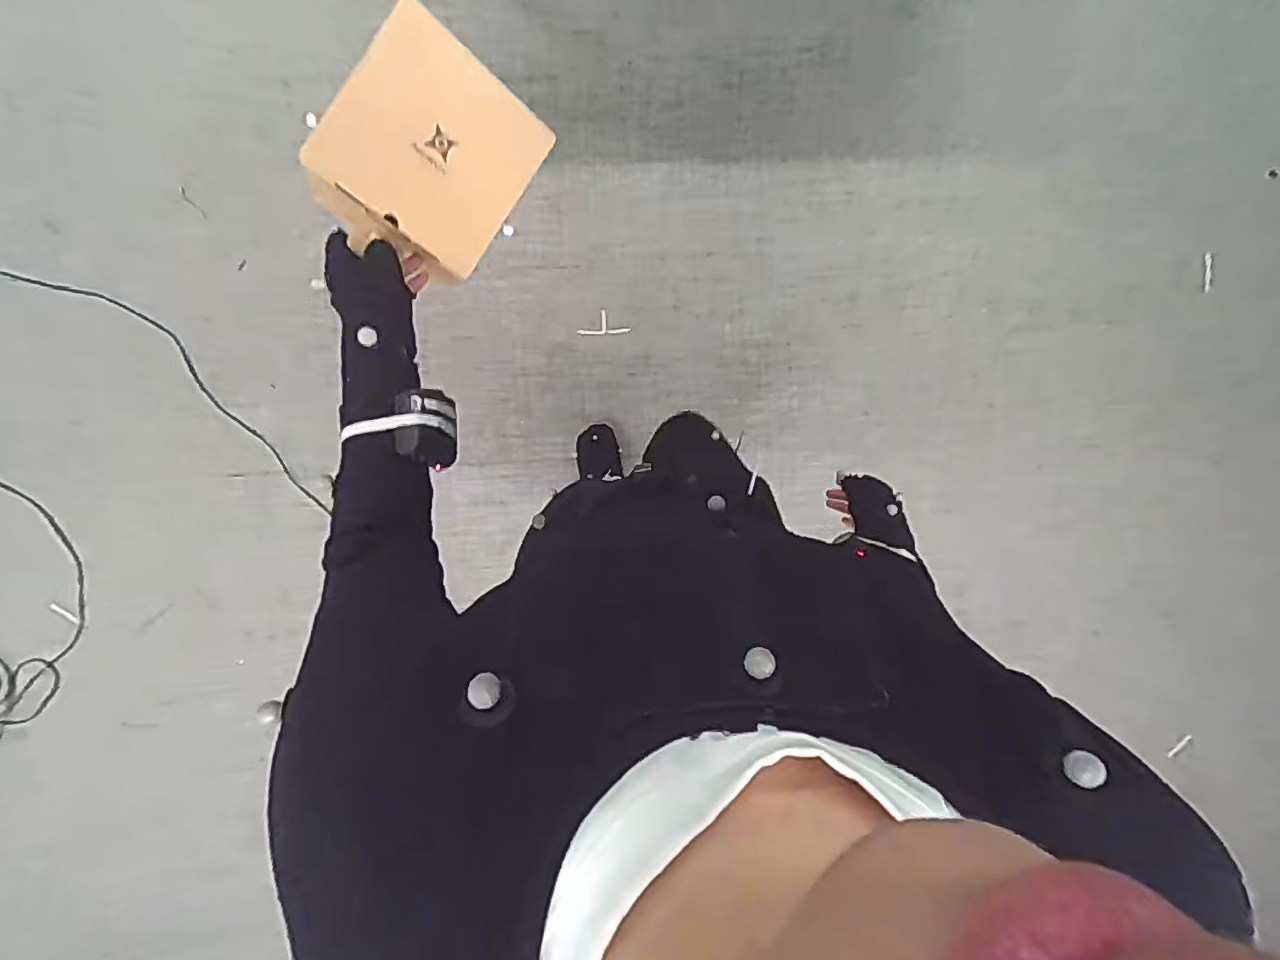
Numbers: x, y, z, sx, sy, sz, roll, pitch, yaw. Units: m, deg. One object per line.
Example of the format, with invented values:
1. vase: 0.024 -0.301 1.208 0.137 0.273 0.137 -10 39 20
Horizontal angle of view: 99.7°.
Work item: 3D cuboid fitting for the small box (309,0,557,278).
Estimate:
1. small box: -0.222 -0.340 0.580 0.168 0.176 0.179 32 91 -30
